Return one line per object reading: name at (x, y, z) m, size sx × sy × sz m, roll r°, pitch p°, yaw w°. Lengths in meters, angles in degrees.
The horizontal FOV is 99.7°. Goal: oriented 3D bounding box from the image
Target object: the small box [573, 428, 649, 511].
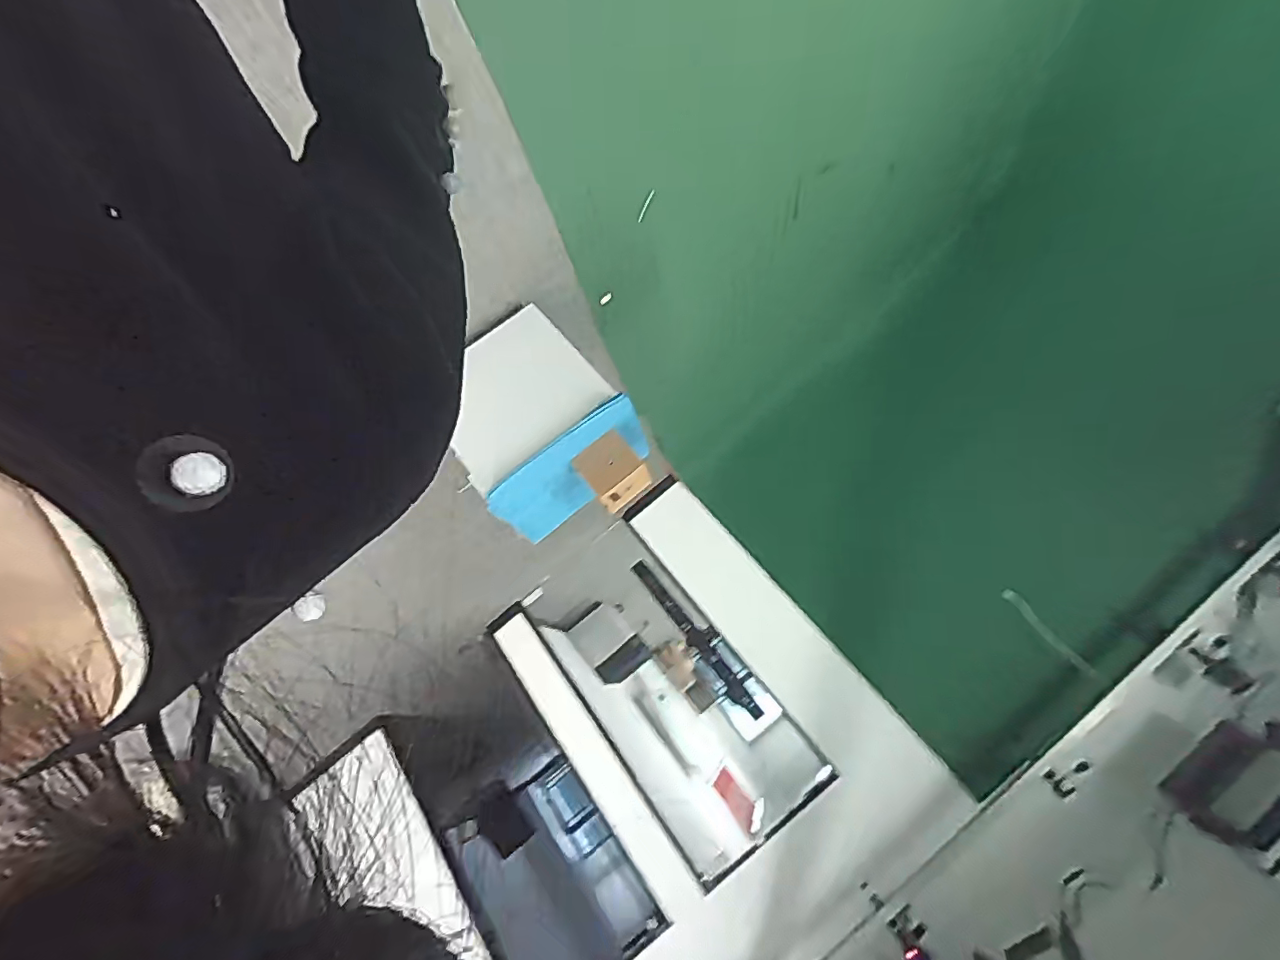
small box at (-0.098, -0.034, 1.745) m, size 0.179 × 0.176 × 0.168 m, roll -40°, pitch 157°, yaw -6°
